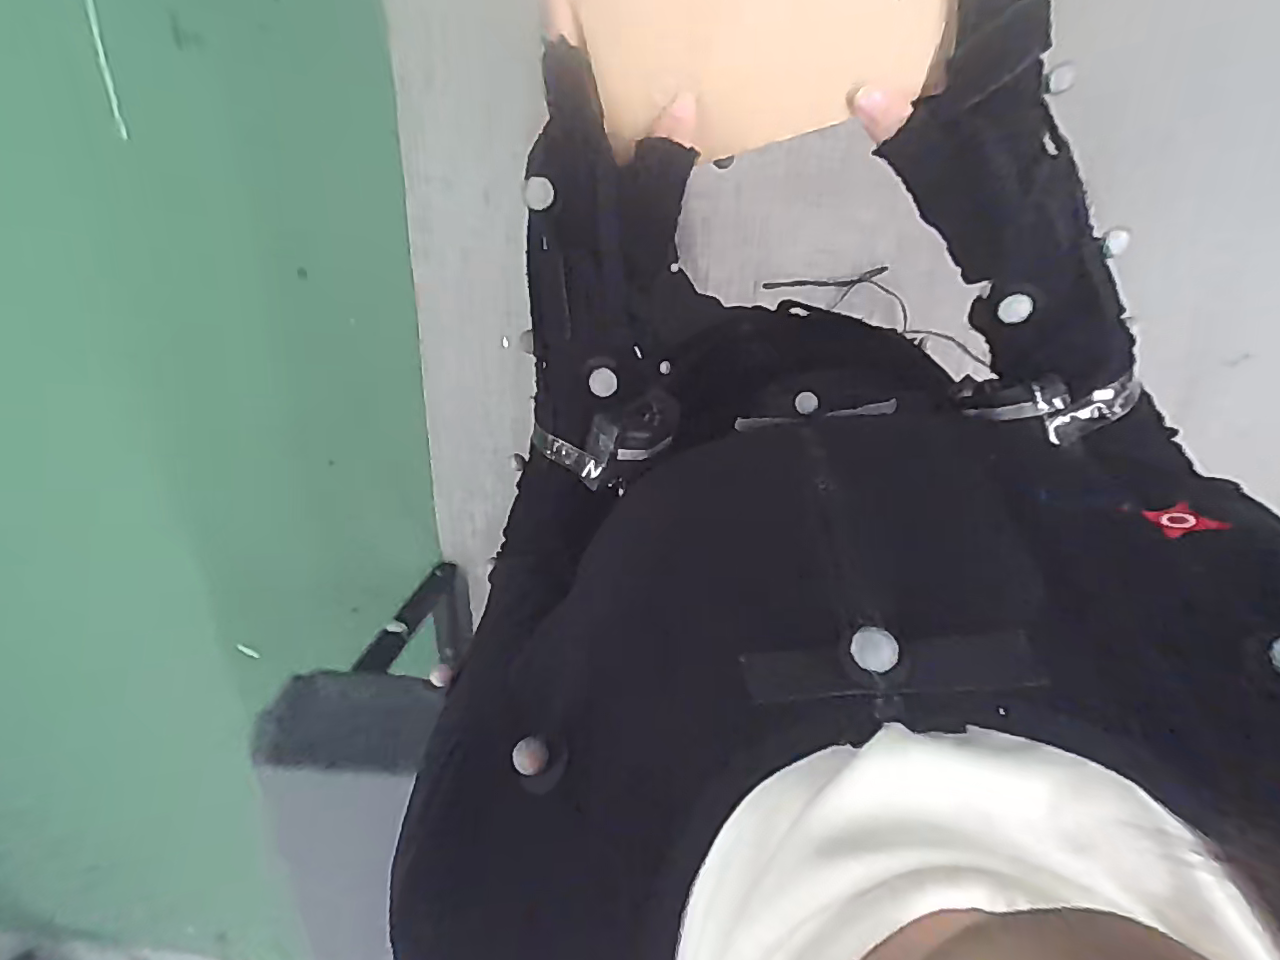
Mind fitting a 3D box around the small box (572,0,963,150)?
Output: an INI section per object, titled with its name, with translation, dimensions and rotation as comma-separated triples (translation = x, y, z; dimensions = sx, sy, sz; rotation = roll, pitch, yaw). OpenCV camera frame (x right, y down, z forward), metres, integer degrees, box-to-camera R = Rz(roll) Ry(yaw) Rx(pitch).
[small box]
translation = 0.045, -0.296, 0.294
dimensions = 0.179, 0.176, 0.168
rotation = -16, 122, 6
